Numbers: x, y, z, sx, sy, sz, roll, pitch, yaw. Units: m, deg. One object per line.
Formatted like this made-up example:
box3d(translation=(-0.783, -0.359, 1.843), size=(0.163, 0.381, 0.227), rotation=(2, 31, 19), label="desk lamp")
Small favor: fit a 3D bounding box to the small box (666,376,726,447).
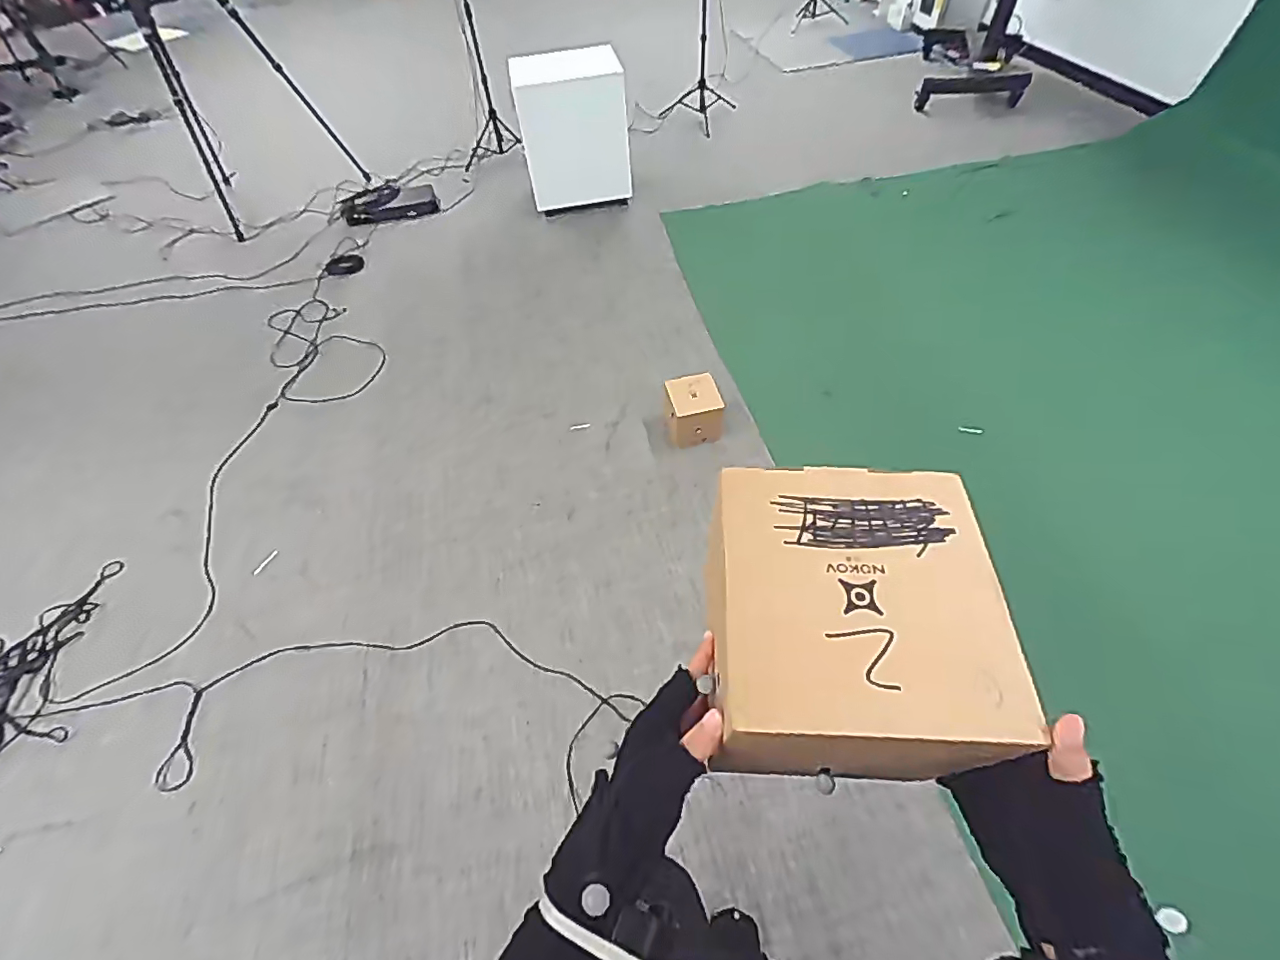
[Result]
box3d(translation=(0.192, -0.230, 1.878), size=(0.168, 0.176, 0.179), rotation=(-11, 54, -6), label="small box")
